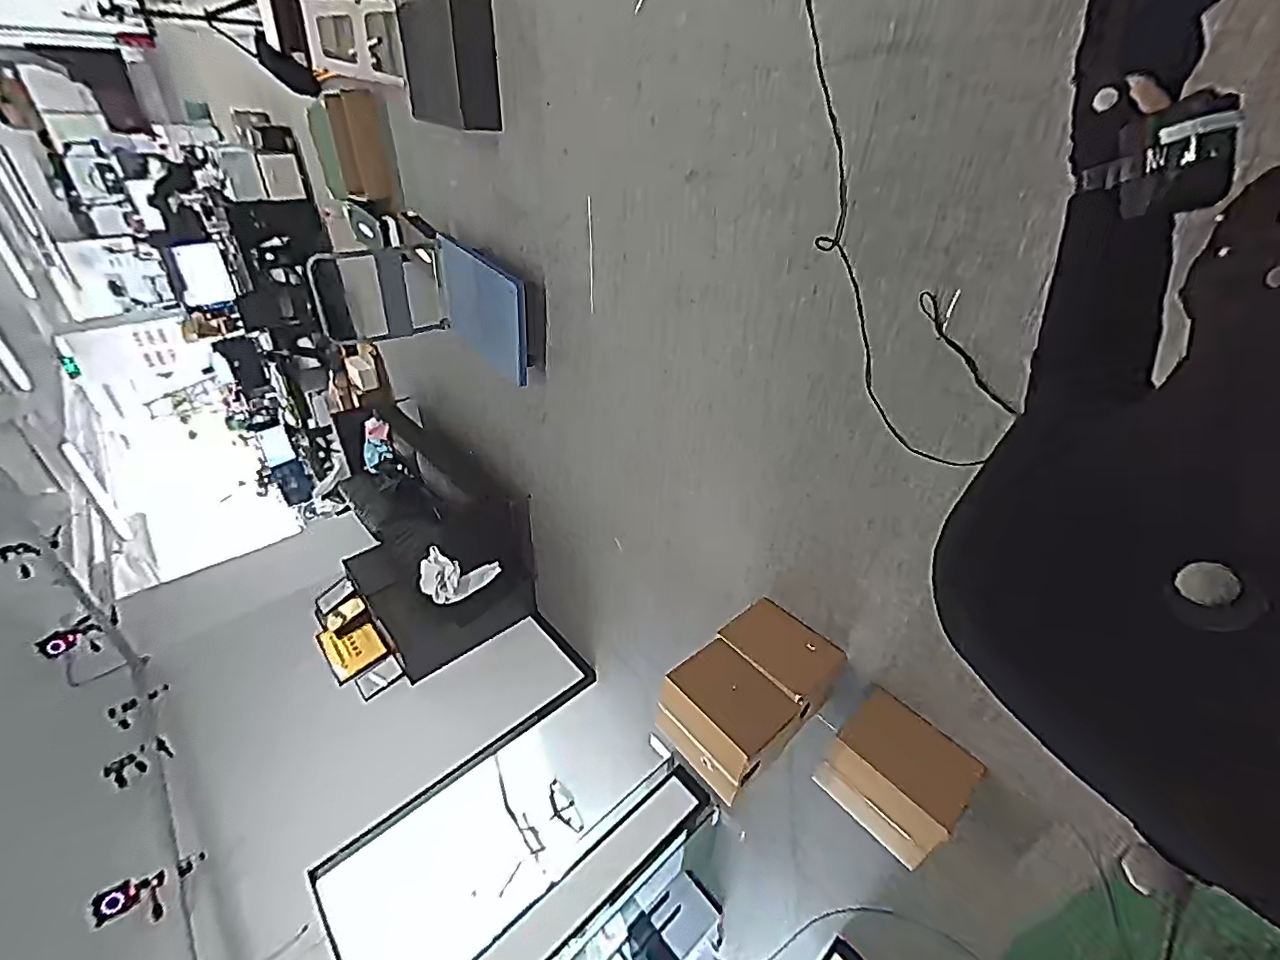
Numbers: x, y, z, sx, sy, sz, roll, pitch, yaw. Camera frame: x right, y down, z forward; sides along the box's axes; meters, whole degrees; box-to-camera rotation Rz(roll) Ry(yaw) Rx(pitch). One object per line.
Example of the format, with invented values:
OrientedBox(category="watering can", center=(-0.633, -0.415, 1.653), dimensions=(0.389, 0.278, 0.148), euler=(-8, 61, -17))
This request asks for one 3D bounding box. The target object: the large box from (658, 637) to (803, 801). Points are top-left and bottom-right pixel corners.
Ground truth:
OrientedBox(category="large box", center=(0.330, 0.877, 2.036), dimensions=(0.408, 0.320, 0.320), euler=(35, 132, 36))
